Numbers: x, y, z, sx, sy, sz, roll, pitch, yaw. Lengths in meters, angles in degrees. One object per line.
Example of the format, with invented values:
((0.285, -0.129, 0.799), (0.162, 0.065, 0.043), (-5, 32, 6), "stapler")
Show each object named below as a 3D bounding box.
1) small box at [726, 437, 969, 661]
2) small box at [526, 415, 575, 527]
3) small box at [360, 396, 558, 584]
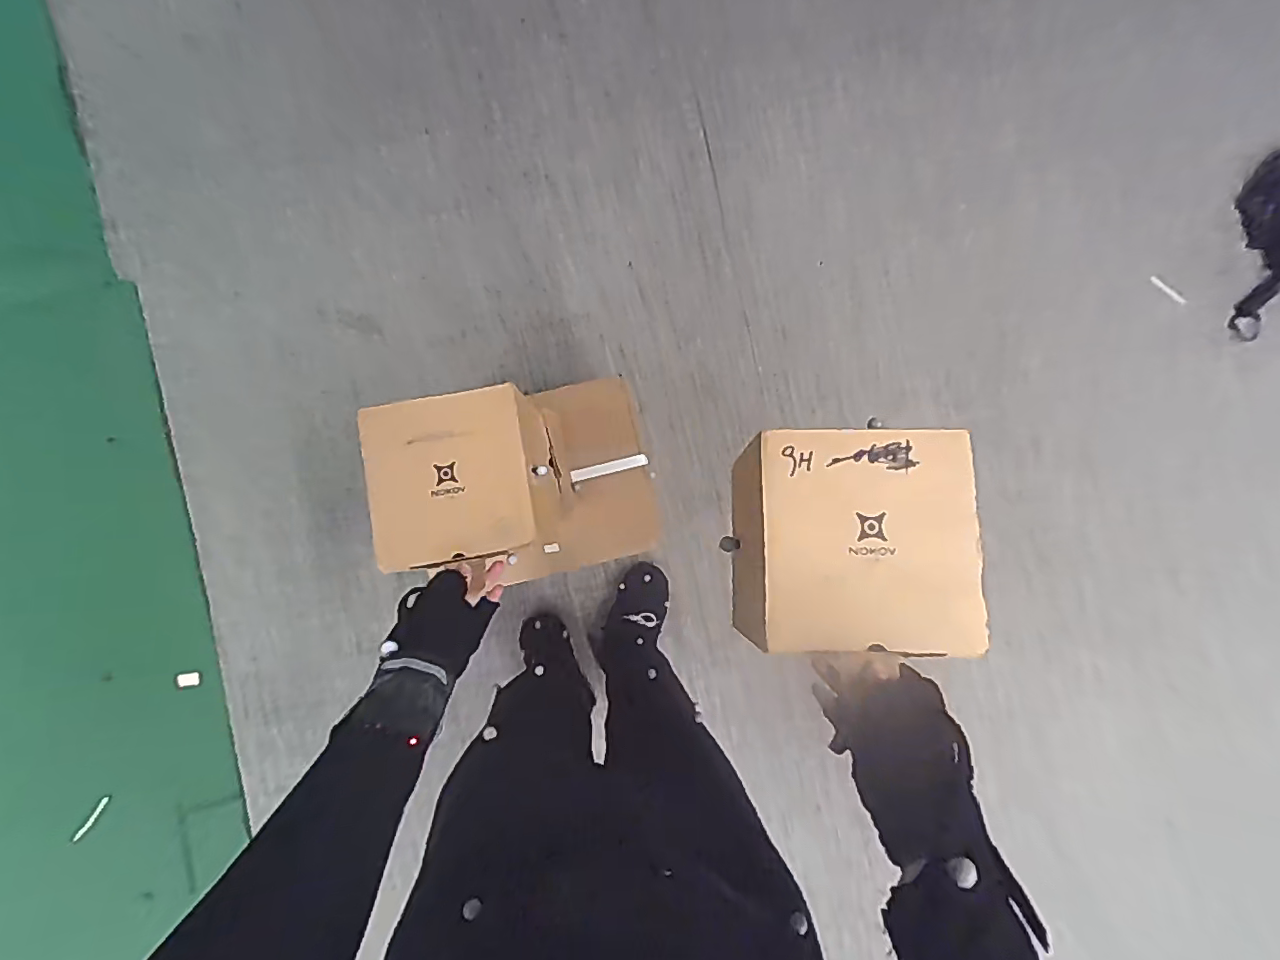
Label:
((0.173, 0.061, 0.503), (0.168, 0.176, 0.179), (0, 82, 2), "small box")
((-0.204, -0.003, 0.839), (0.179, 0.176, 0.168), (-15, 96, -1), "small box")
((-0.201, 0.015, 0.646), (0.168, 0.176, 0.179), (-11, 85, -1), "small box")
